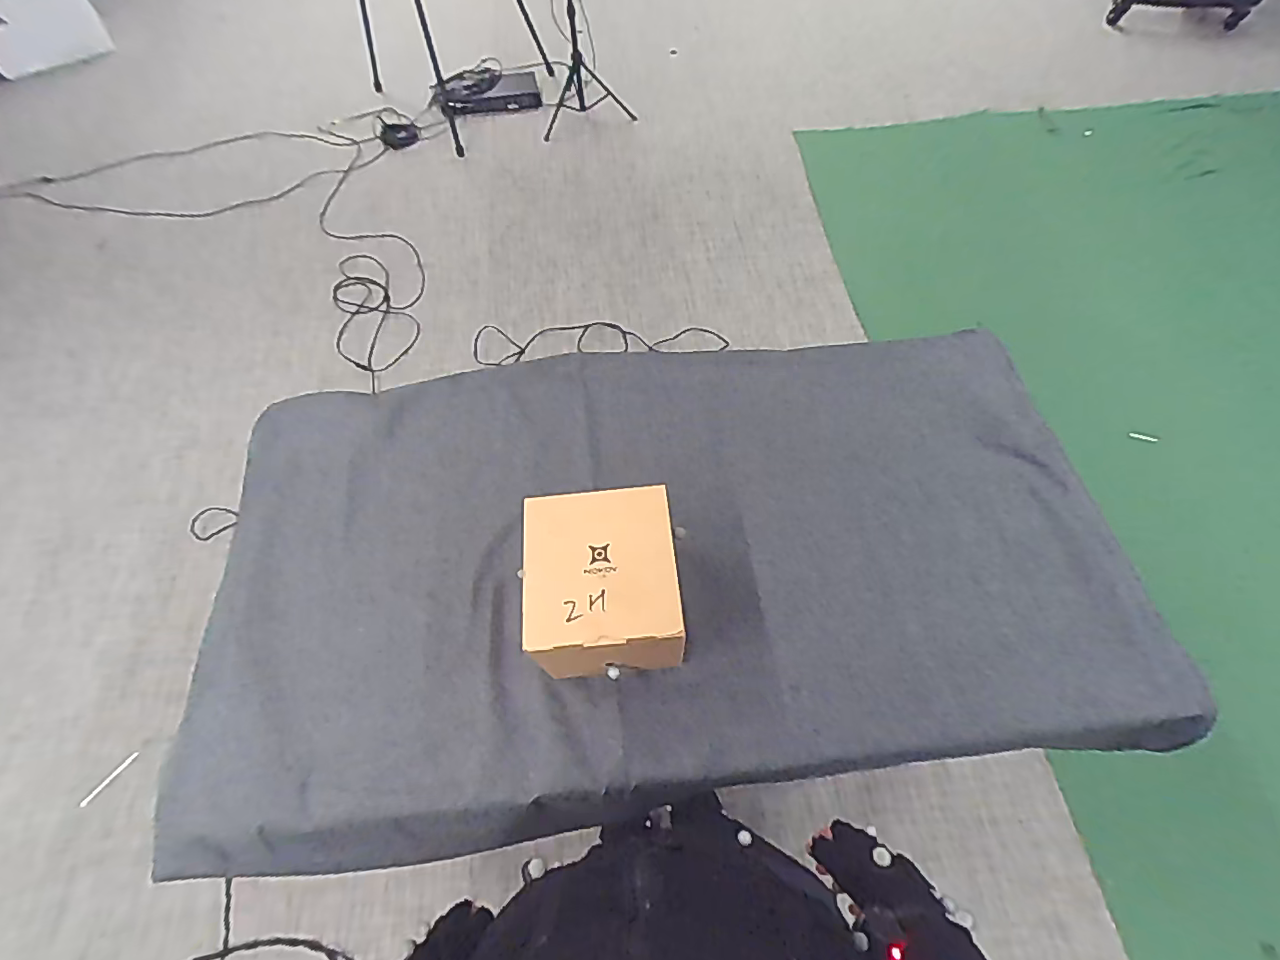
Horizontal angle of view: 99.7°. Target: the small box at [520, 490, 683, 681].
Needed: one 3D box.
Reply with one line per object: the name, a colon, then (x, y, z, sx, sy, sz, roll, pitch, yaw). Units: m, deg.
small box: (-0.043, 0.132, 0.651, 0.168, 0.176, 0.179, -6, 61, 0)
